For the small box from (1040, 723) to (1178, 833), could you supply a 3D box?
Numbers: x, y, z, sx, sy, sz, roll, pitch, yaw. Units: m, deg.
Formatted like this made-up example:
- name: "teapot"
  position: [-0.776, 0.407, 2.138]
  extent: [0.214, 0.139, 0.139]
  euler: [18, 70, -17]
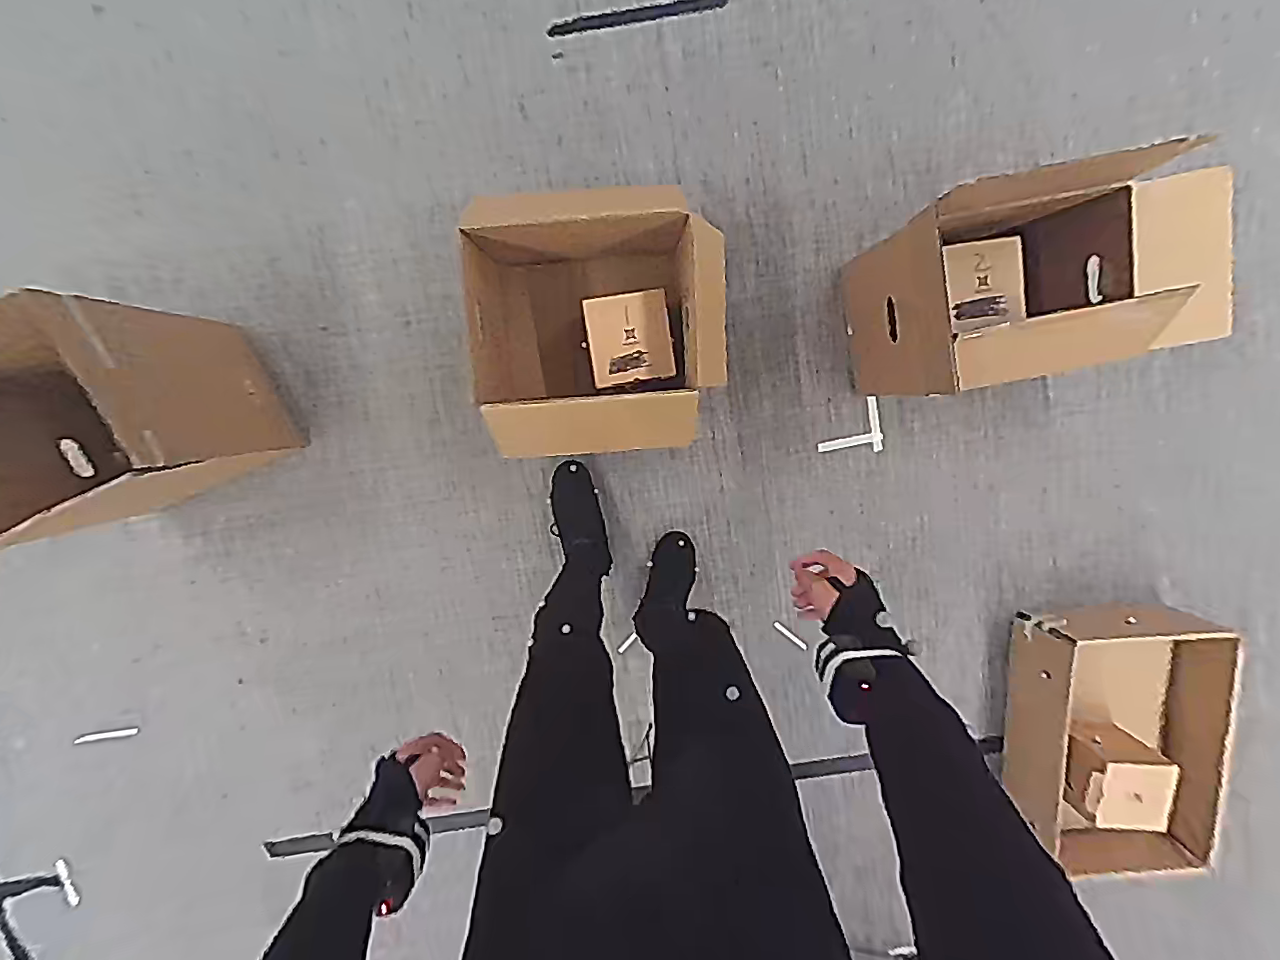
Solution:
- name: "small box"
  position: [1.121, 0.712, 1.308]
  extent: [0.179, 0.176, 0.168]
  euler: [5, 98, -2]
